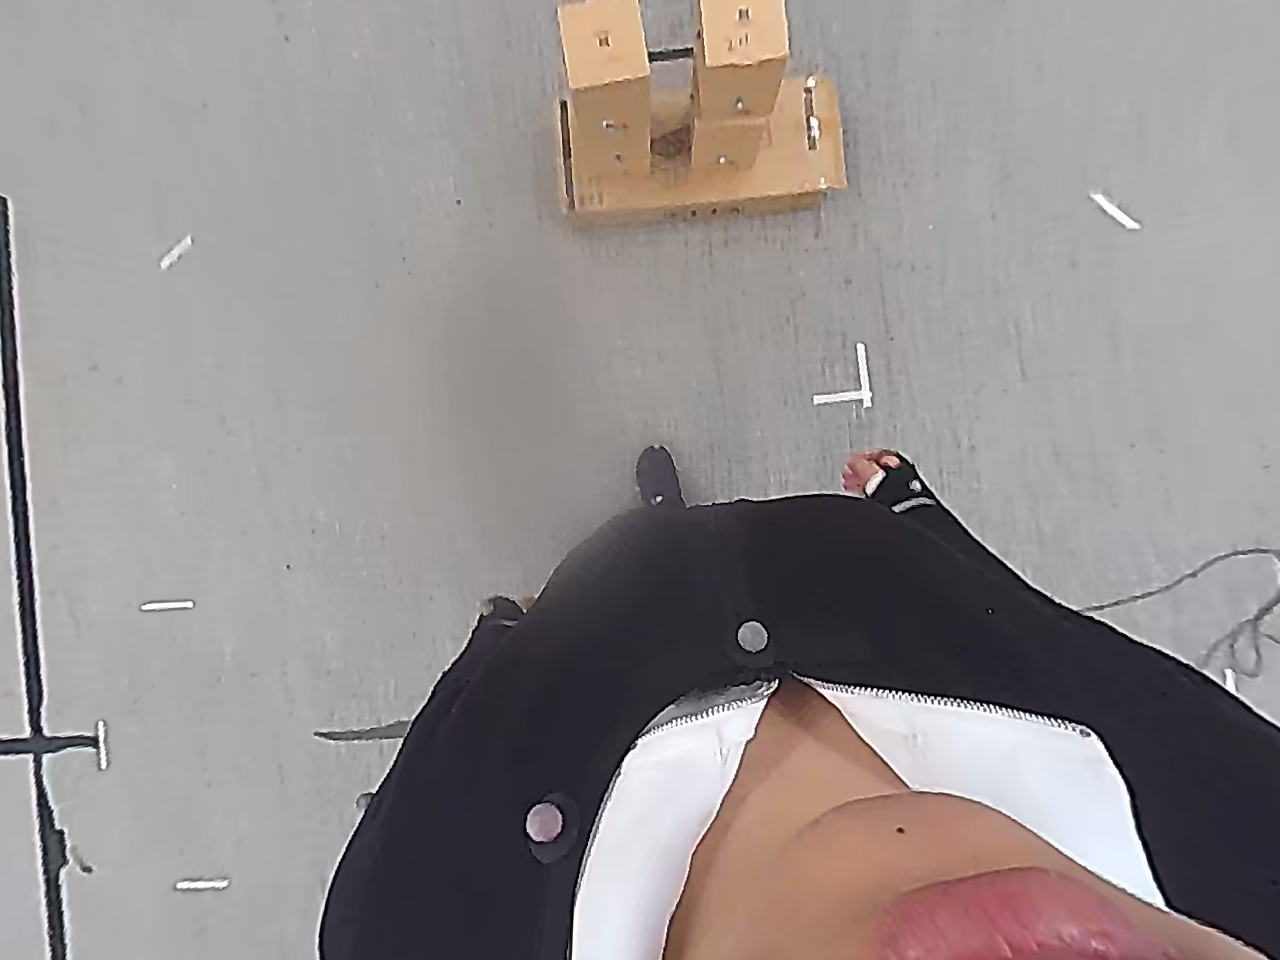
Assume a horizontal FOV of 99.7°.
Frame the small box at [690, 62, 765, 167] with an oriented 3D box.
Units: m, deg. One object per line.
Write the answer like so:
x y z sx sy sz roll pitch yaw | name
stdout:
0.207 -0.893 1.311 0.168 0.176 0.179 0 90 3 | small box

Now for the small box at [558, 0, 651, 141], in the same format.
-0.070 -0.874 1.156 0.168 0.176 0.179 -10 90 2 | small box

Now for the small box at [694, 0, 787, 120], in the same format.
0.205 -0.909 1.145 0.168 0.176 0.179 -5 89 3 | small box

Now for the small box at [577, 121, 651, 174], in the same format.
-0.060 -0.874 1.319 0.168 0.176 0.179 -3 90 2 | small box
